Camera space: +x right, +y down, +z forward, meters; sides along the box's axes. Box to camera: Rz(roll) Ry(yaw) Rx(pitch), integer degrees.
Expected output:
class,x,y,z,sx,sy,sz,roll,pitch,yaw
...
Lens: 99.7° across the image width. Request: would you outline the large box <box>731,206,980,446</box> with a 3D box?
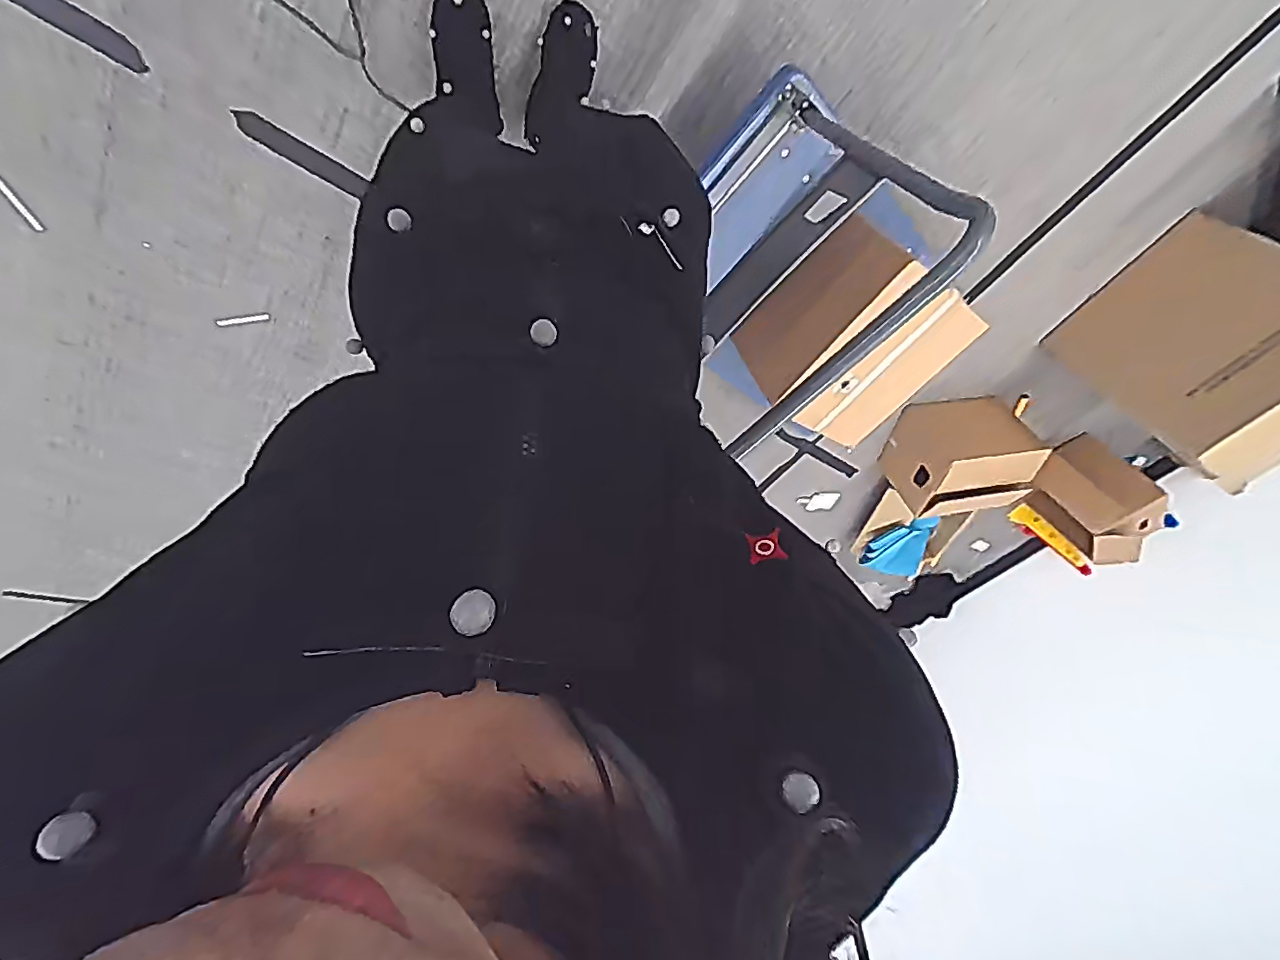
class,x,y,z,sx,sy,sz,roll,pitch,yaw
large box,0.497,-0.361,1.316,0.320,0.320,0.408,19,128,-31
